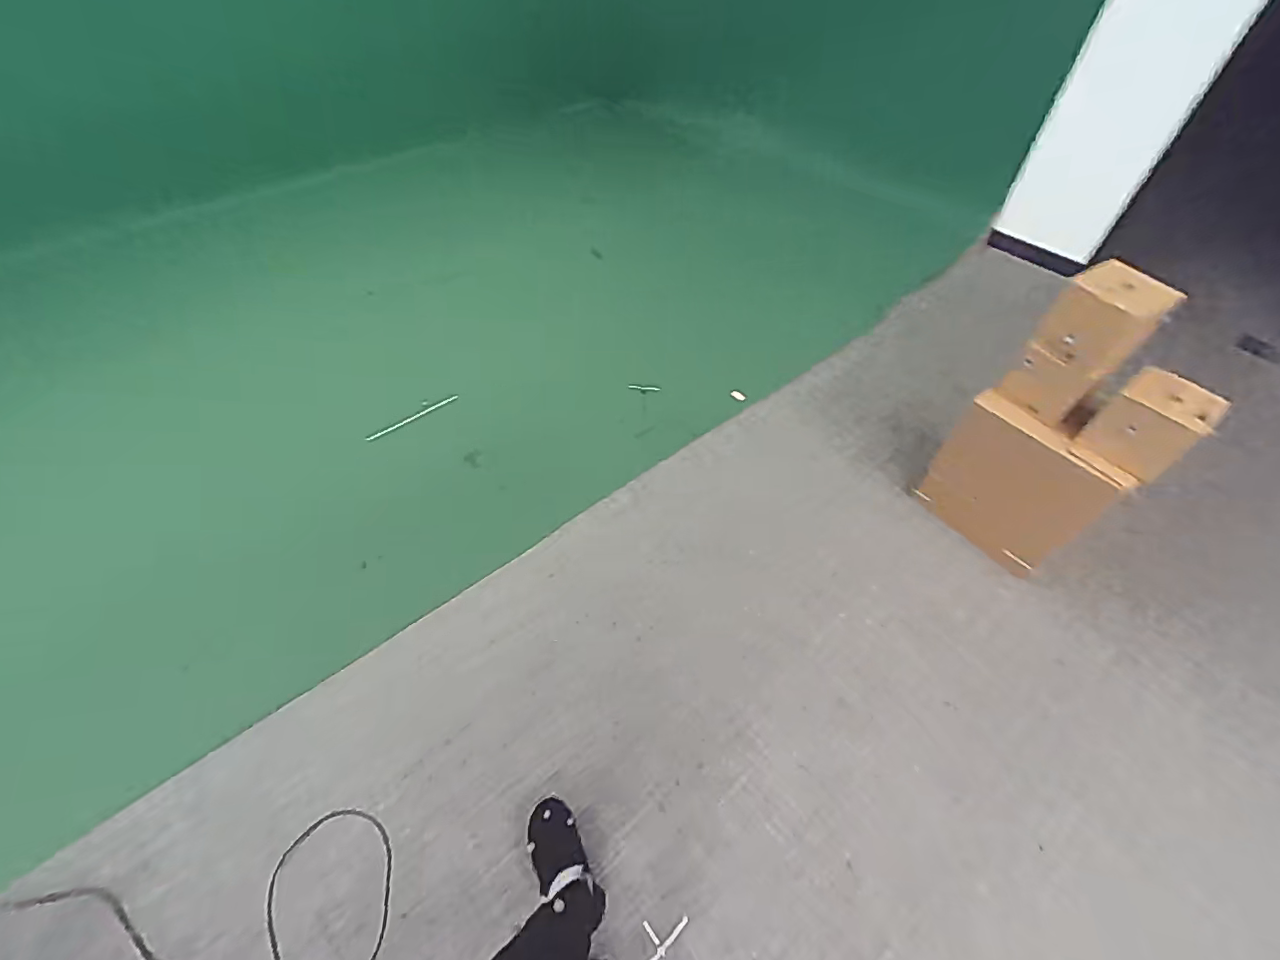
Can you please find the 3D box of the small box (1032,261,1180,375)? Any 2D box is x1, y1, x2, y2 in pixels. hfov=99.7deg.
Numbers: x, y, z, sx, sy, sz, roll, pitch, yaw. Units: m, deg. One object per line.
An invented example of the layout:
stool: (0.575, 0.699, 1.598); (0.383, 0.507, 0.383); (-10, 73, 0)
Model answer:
small box: (1.085, -0.380, 1.277); (0.179, 0.176, 0.168); (-25, 56, -17)
